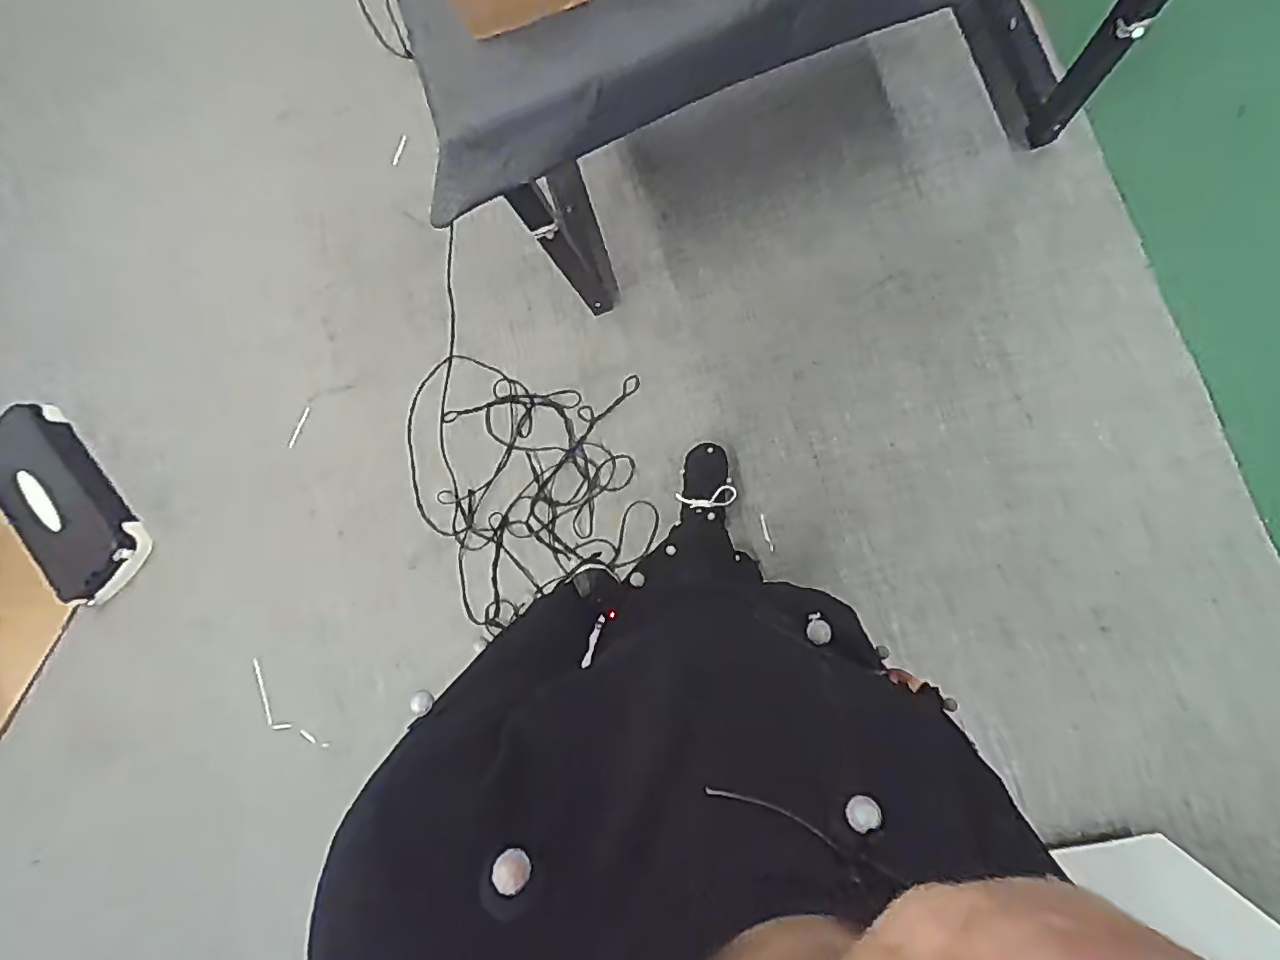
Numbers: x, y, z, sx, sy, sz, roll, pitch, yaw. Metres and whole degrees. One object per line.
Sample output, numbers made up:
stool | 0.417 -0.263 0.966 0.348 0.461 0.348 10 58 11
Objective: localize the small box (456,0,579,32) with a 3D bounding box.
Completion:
small box | -0.173 -0.707 0.661 0.179 0.176 0.168 -11 85 9
